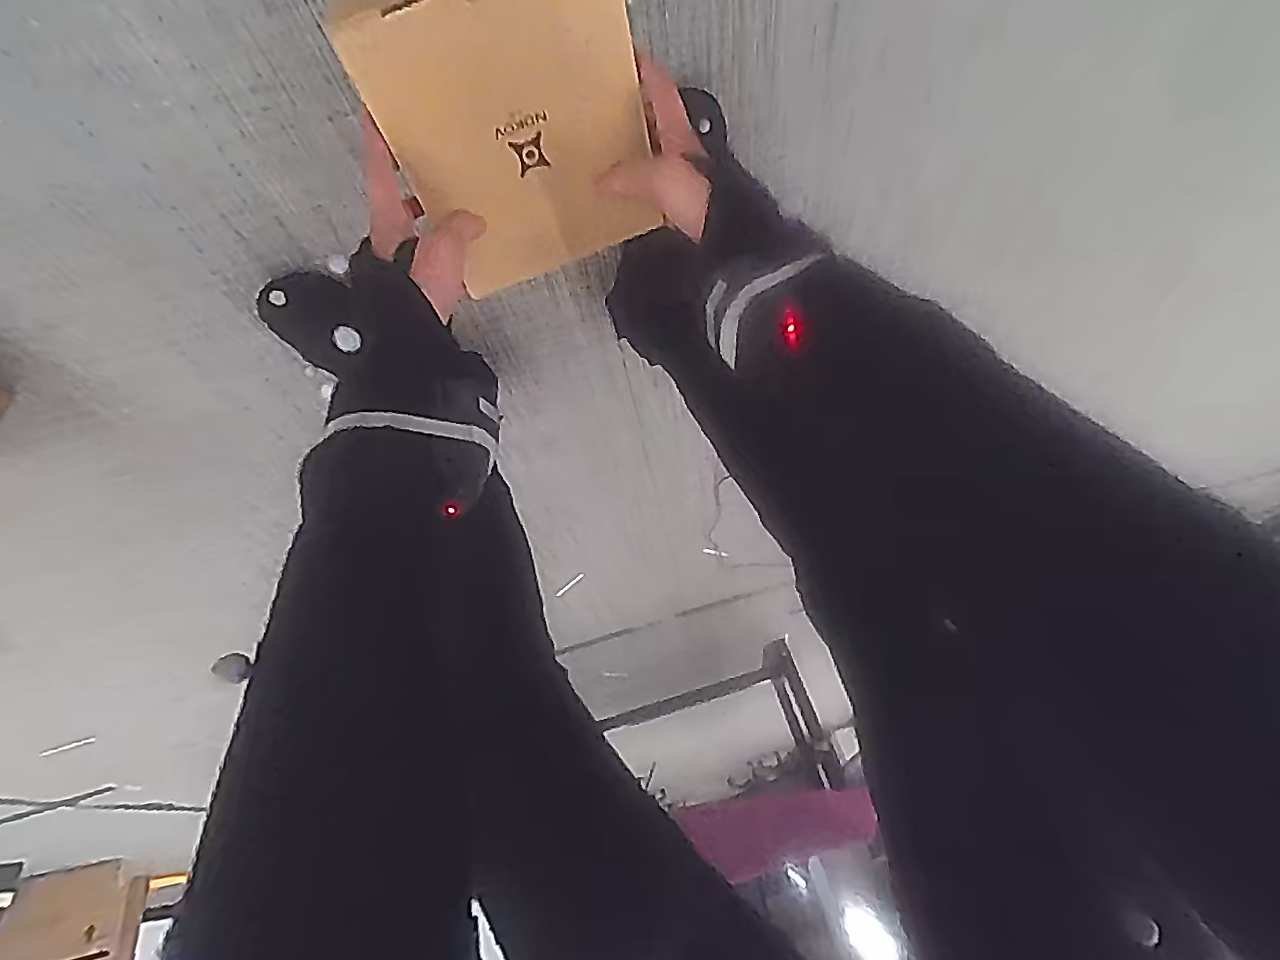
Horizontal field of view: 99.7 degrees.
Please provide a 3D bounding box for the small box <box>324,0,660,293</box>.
[{"bbox_3d":[-0.100,-0.282,0.404,0.168,0.176,0.179,-22,143,-1],"label":"small box"}]
